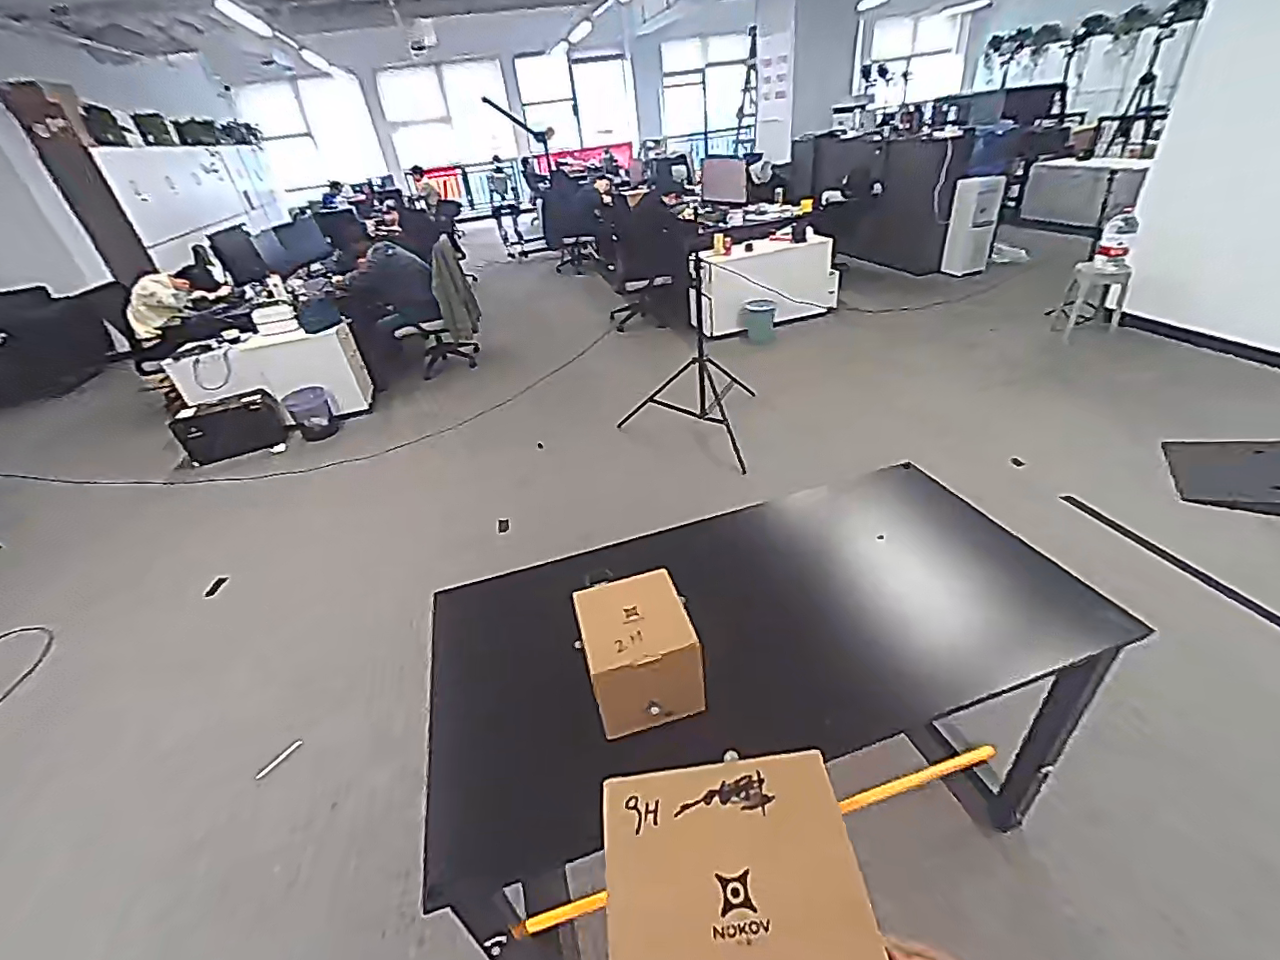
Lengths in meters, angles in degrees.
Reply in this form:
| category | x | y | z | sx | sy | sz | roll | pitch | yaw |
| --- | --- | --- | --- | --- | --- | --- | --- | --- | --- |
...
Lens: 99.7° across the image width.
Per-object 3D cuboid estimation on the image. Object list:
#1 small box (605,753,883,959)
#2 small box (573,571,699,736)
| category | x | y | z | sx | sy | sz | roll | pitch | yaw |
| --- | --- | --- | --- | --- | --- | --- | --- | --- | --- |
| small box | 0.071 | 0.330 | 0.396 | 0.168 | 0.176 | 0.179 | -8 | 43 | 1 |
| small box | -0.007 | 0.285 | 0.901 | 0.168 | 0.176 | 0.179 | -14 | 34 | -9 |
